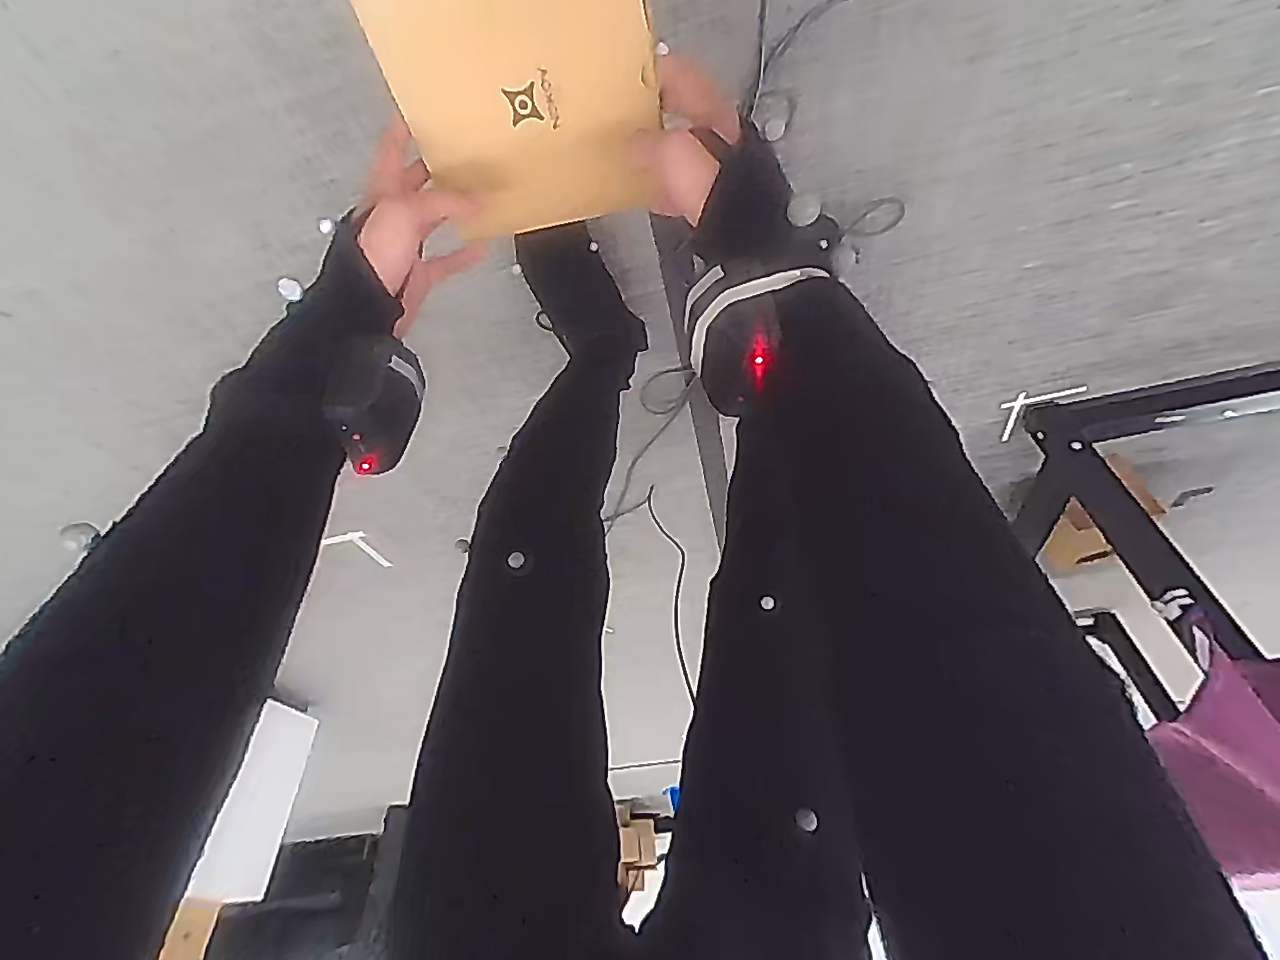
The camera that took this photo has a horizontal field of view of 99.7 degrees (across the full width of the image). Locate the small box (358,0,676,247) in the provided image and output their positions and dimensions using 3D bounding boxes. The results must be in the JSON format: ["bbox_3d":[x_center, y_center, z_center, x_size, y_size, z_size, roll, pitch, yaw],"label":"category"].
[{"bbox_3d":[-0.072,-0.311,0.417,0.179,0.176,0.168,-8,140,7],"label":"small box"}]
